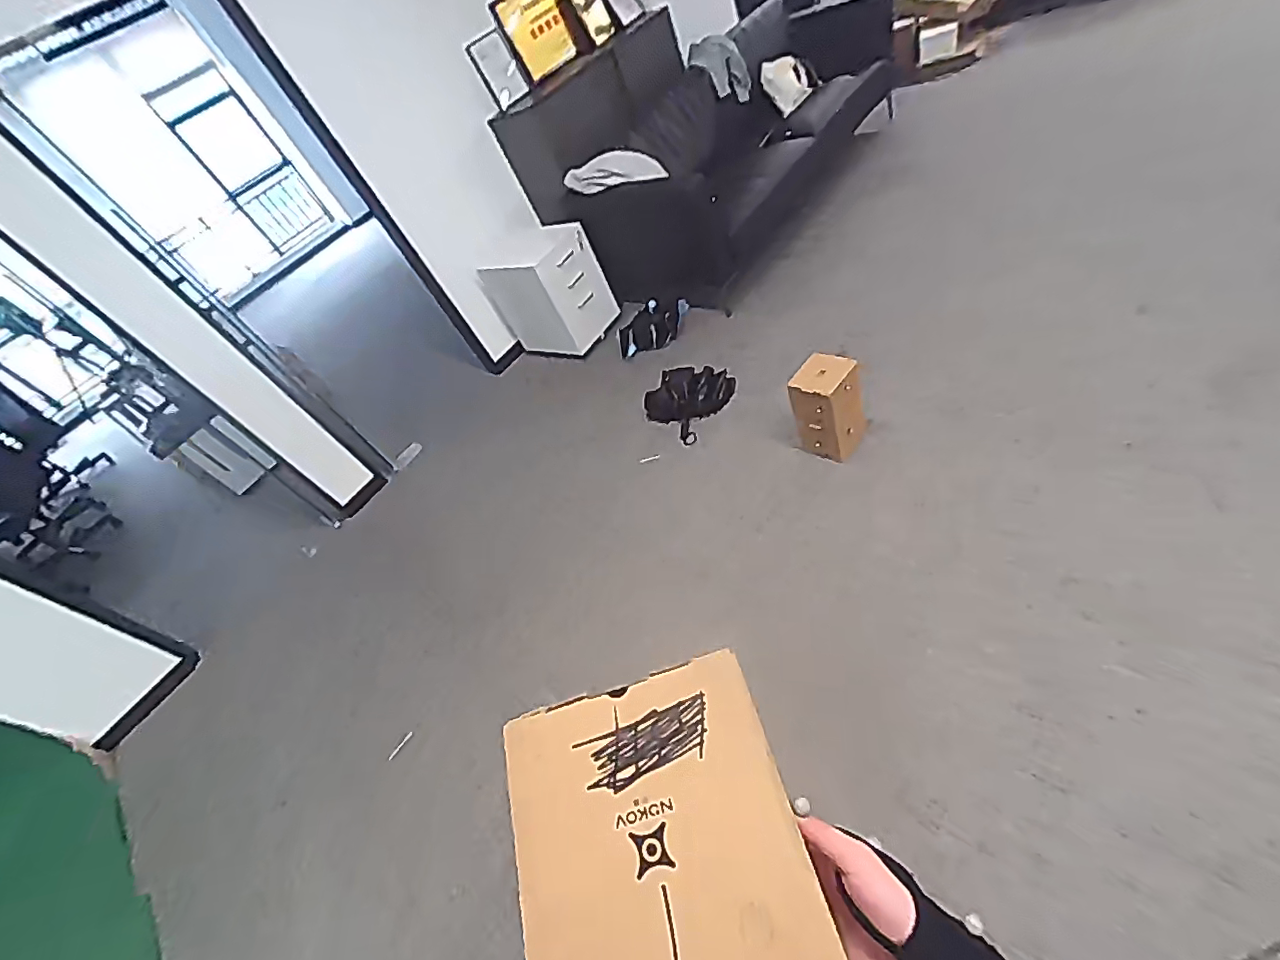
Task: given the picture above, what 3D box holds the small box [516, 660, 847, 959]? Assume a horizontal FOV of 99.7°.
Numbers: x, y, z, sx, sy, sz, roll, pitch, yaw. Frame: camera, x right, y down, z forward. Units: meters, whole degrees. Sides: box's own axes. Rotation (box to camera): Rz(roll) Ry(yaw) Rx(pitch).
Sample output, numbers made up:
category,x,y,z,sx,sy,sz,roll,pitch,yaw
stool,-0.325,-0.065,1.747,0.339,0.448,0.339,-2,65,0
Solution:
category,x,y,z,sx,sy,sz,roll,pitch,yaw
small box,0.026,0.257,0.384,0.168,0.176,0.179,-18,54,2
